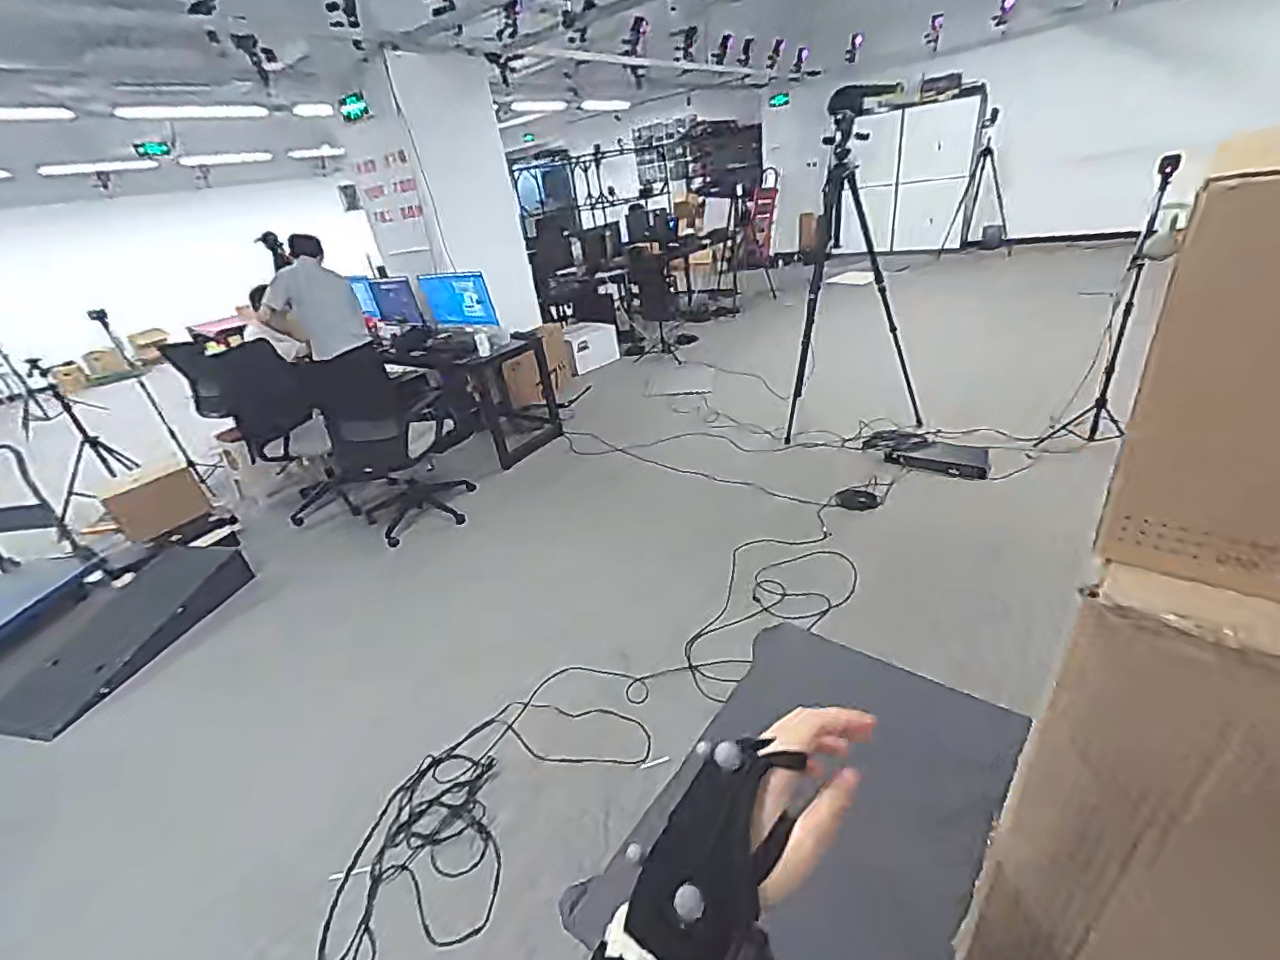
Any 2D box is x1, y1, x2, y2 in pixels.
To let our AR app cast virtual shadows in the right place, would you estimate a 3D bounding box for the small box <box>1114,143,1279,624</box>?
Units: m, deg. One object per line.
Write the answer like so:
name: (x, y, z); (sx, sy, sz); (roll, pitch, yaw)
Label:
small box: (0.328, -0.042, 0.219); (0.168, 0.176, 0.179); (18, 40, 41)
